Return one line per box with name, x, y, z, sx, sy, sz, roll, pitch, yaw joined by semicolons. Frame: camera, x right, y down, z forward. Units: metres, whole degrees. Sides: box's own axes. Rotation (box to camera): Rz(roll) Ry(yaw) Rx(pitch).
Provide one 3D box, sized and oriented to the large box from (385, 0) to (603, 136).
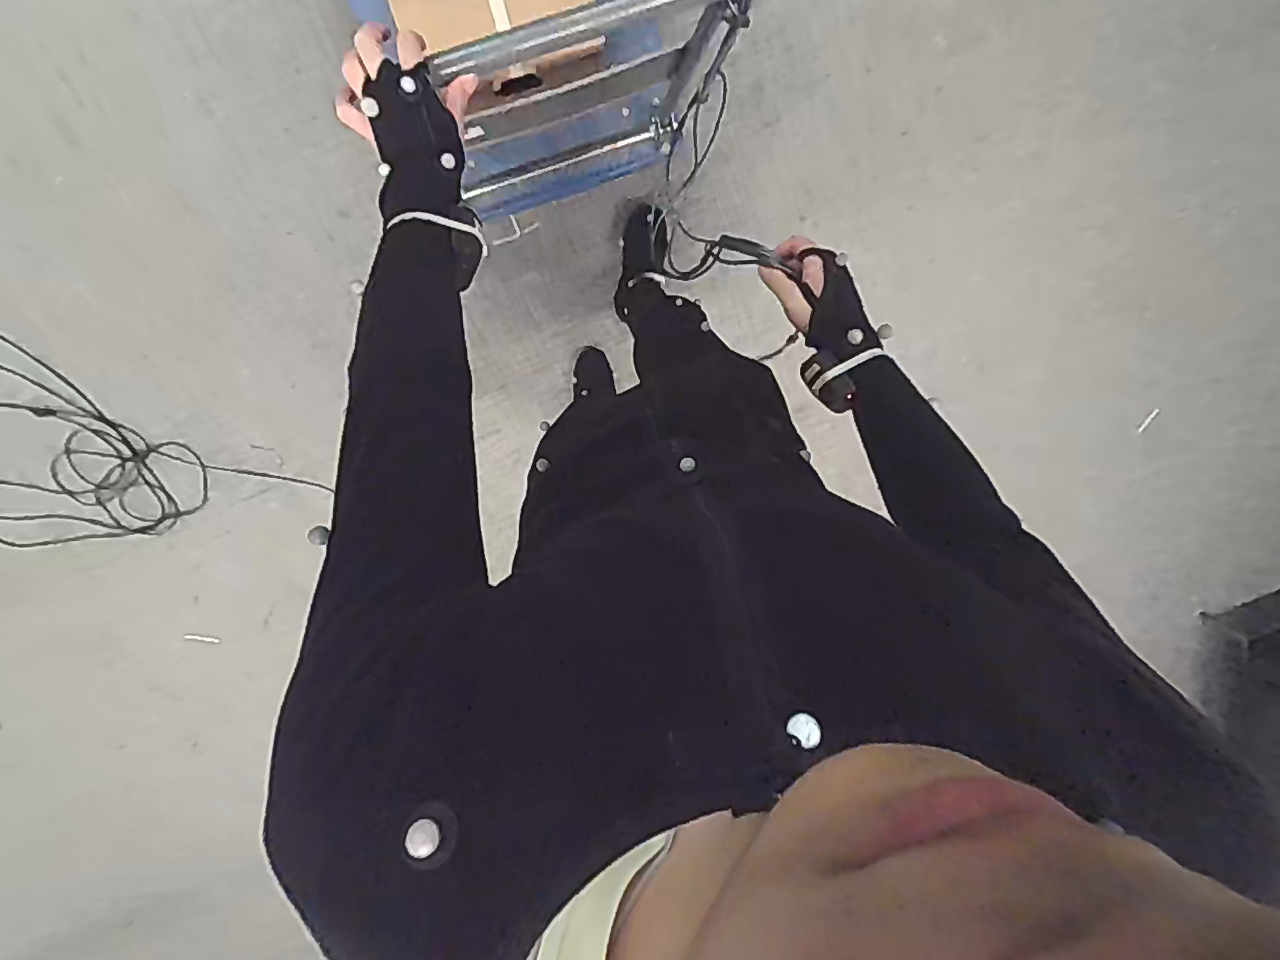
large box;-0.272;-0.886;0.924;0.320;0.320;0.408;-17;111;-1
